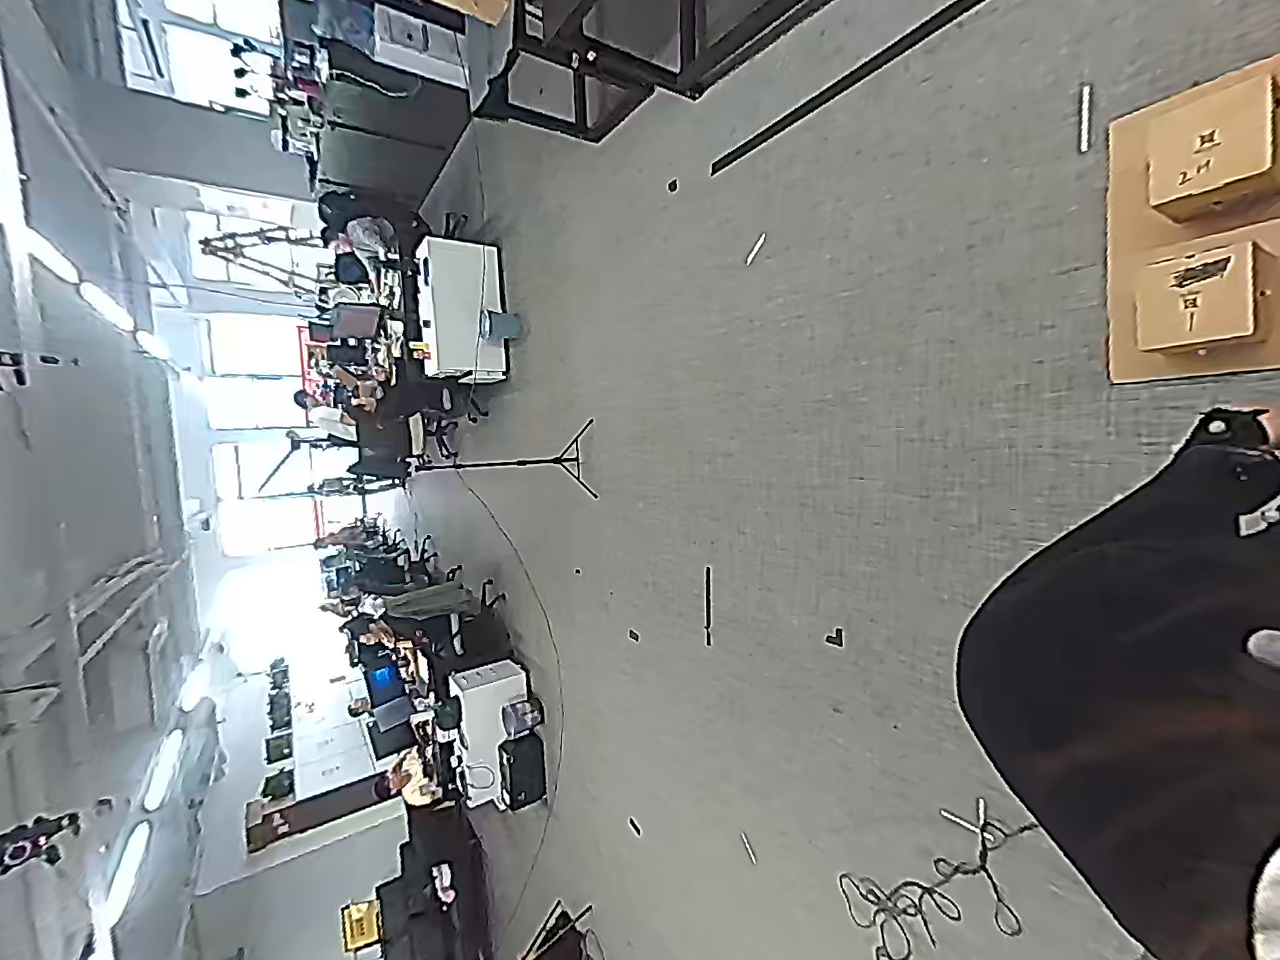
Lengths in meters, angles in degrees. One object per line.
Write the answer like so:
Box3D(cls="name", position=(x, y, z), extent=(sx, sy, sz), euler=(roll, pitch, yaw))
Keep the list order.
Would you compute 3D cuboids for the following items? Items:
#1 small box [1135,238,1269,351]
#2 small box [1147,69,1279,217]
Box3D(cls="small box", position=(1.143, -0.366, 1.103), extent=(0.168, 0.176, 0.179), euler=(1, 97, 57))
Box3D(cls="small box", position=(1.138, -0.650, 1.067), extent=(0.168, 0.176, 0.179), euler=(2, 97, 57))
